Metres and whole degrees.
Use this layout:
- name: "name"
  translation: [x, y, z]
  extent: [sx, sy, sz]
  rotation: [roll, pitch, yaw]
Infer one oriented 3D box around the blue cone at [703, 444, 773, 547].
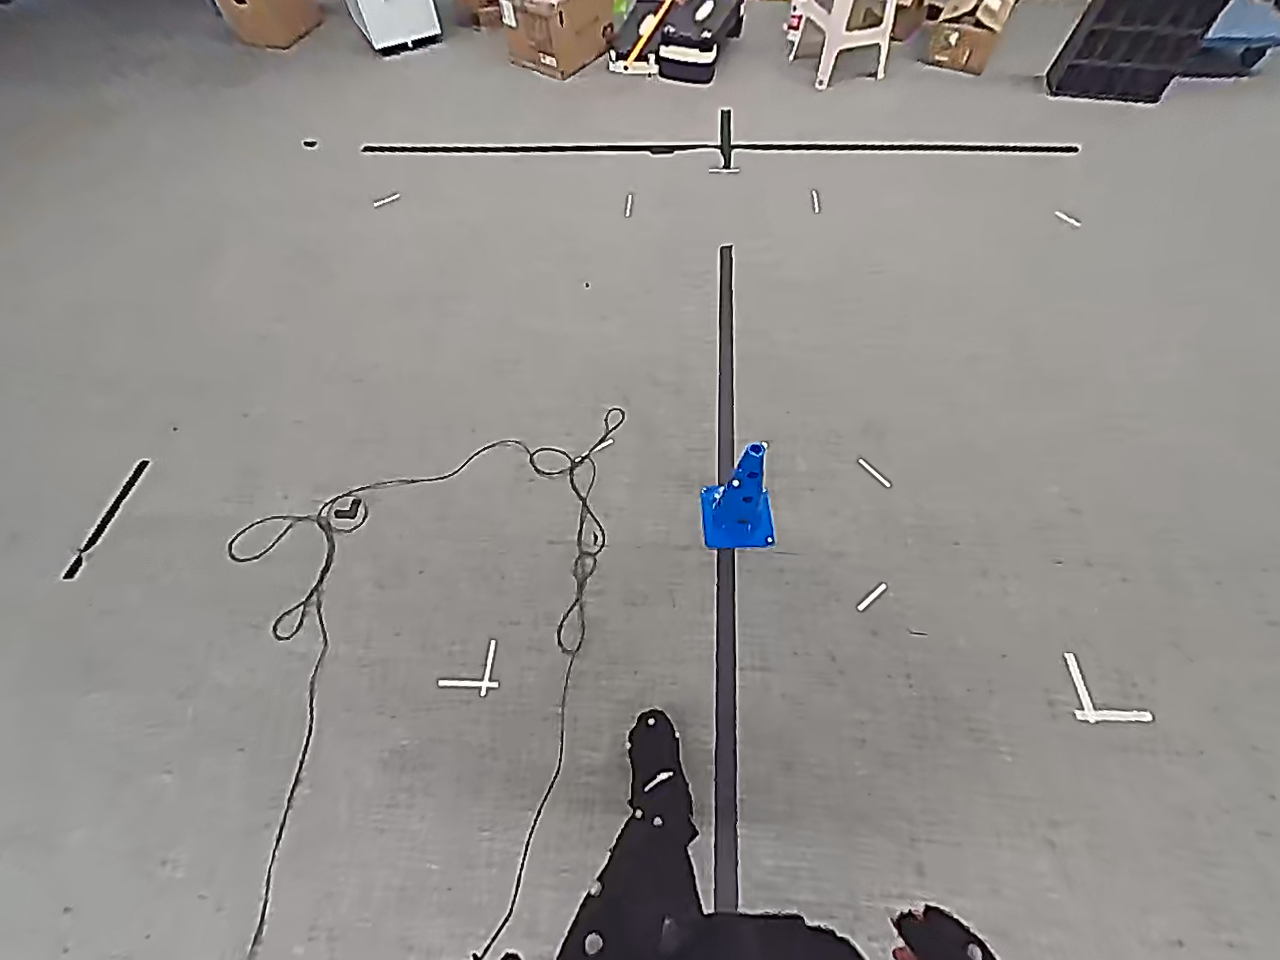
- name: "blue cone"
  translation: [0.280, 0.024, 1.431]
  extent: [0.192, 0.380, 0.193]
  rotation: [0, 60, 1]
